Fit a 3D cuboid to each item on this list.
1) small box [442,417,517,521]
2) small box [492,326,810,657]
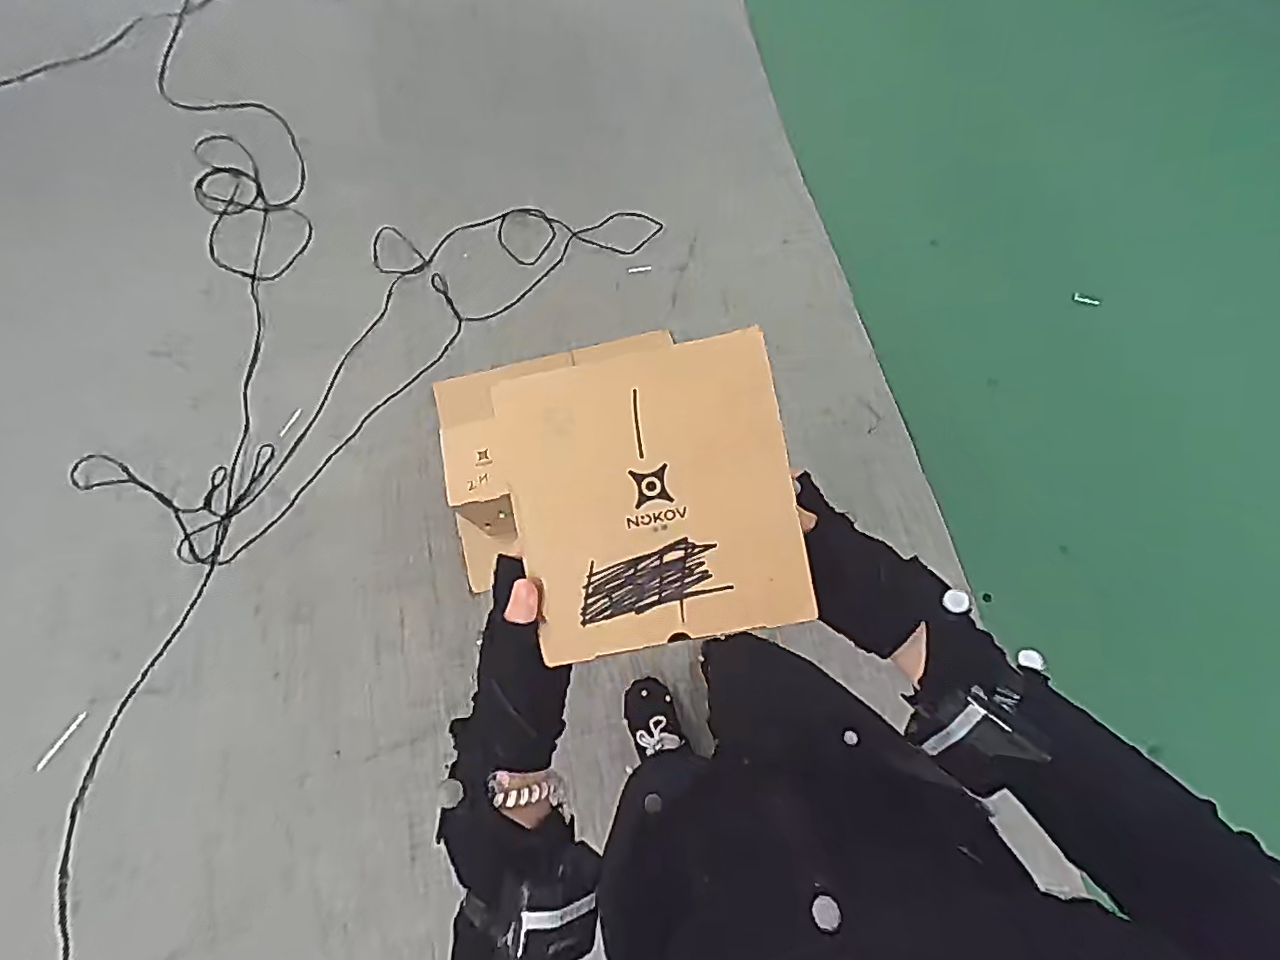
[{"bbox_3d":[-0.321,-0.022,1.191,0.168,0.176,0.179,-12,74,-3],"label":"small box"},{"bbox_3d":[0.011,0.005,0.399,0.168,0.176,0.179,-11,92,3],"label":"small box"}]
